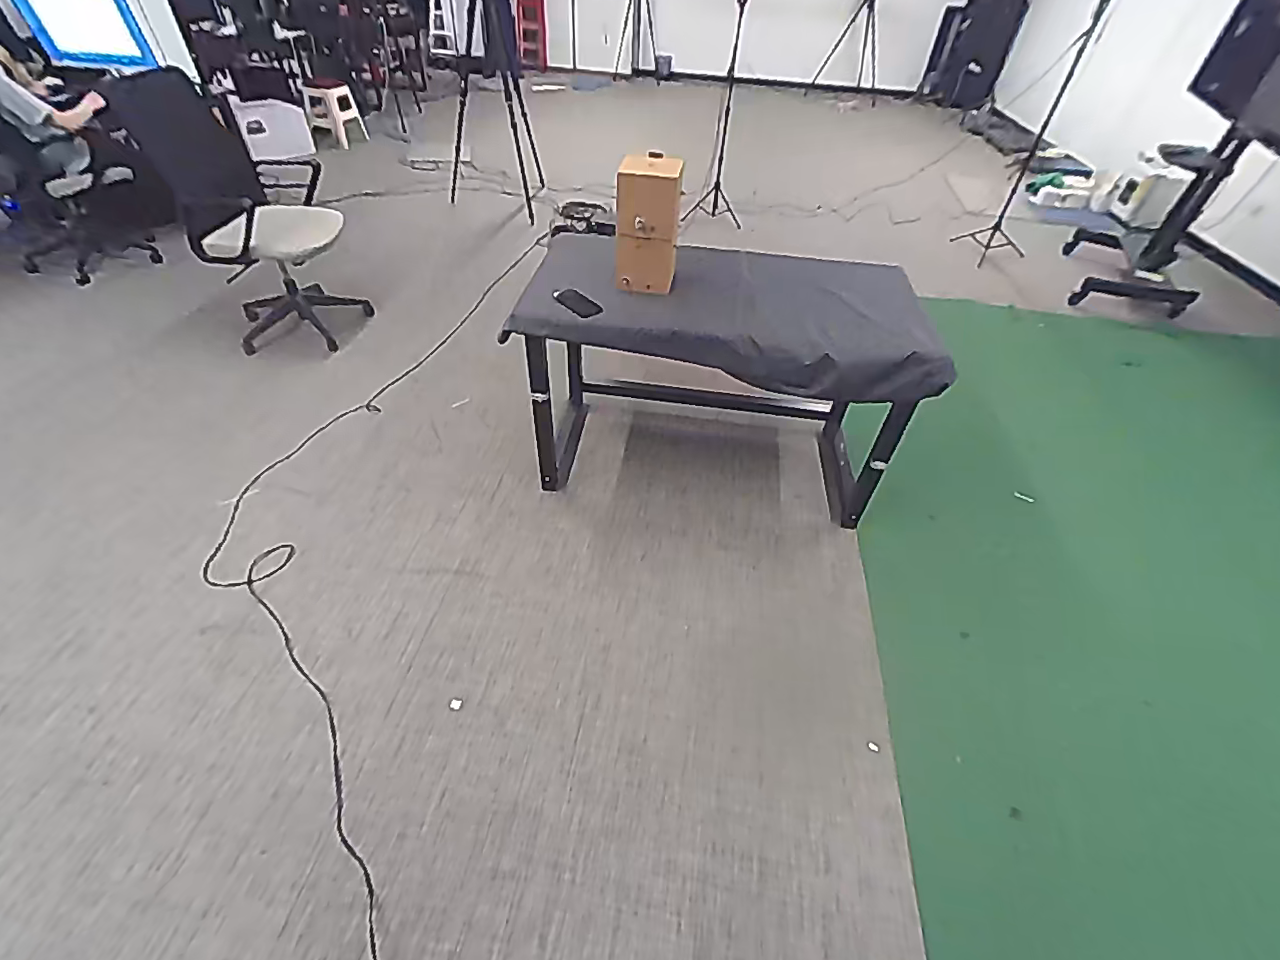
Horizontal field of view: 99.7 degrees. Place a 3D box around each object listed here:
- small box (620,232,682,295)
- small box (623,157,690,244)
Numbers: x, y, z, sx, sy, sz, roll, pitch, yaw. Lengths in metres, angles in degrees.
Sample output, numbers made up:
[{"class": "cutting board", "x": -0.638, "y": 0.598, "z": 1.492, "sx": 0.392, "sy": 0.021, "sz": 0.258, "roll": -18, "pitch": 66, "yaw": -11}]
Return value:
[{"class": "small box", "x": 0.035, "y": -0.684, "z": 1.657, "sx": 0.168, "sy": 0.176, "sz": 0.179, "roll": 9, "pitch": 44, "yaw": 5}, {"class": "small box", "x": 0.044, "y": -0.796, "z": 1.540, "sx": 0.168, "sy": 0.176, "sz": 0.179, "roll": 8, "pitch": 45, "yaw": 5}]
